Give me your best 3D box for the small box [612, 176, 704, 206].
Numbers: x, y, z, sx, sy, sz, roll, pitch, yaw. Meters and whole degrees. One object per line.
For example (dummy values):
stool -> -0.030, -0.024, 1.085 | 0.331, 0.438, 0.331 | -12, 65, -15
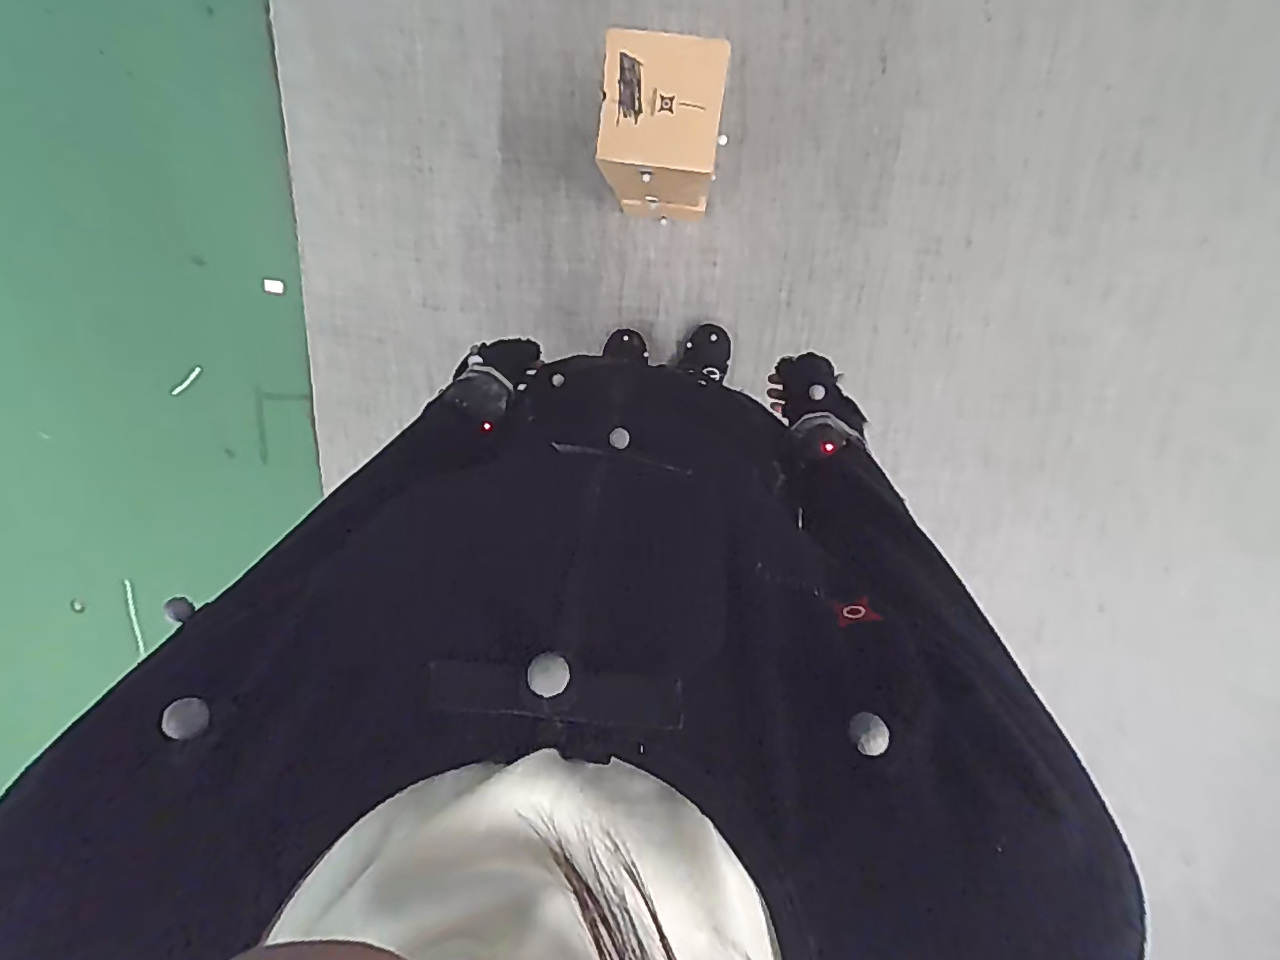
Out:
small box -> 0.045, -0.625, 1.001 | 0.168, 0.176, 0.179 | 7, 109, 3

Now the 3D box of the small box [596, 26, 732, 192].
small box -> 0.037, -0.565, 0.847 | 0.179, 0.176, 0.168 | 8, 108, 2

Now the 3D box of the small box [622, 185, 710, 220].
small box -> 0.061, -0.663, 1.158 | 0.179, 0.176, 0.168 | 7, 108, 1
